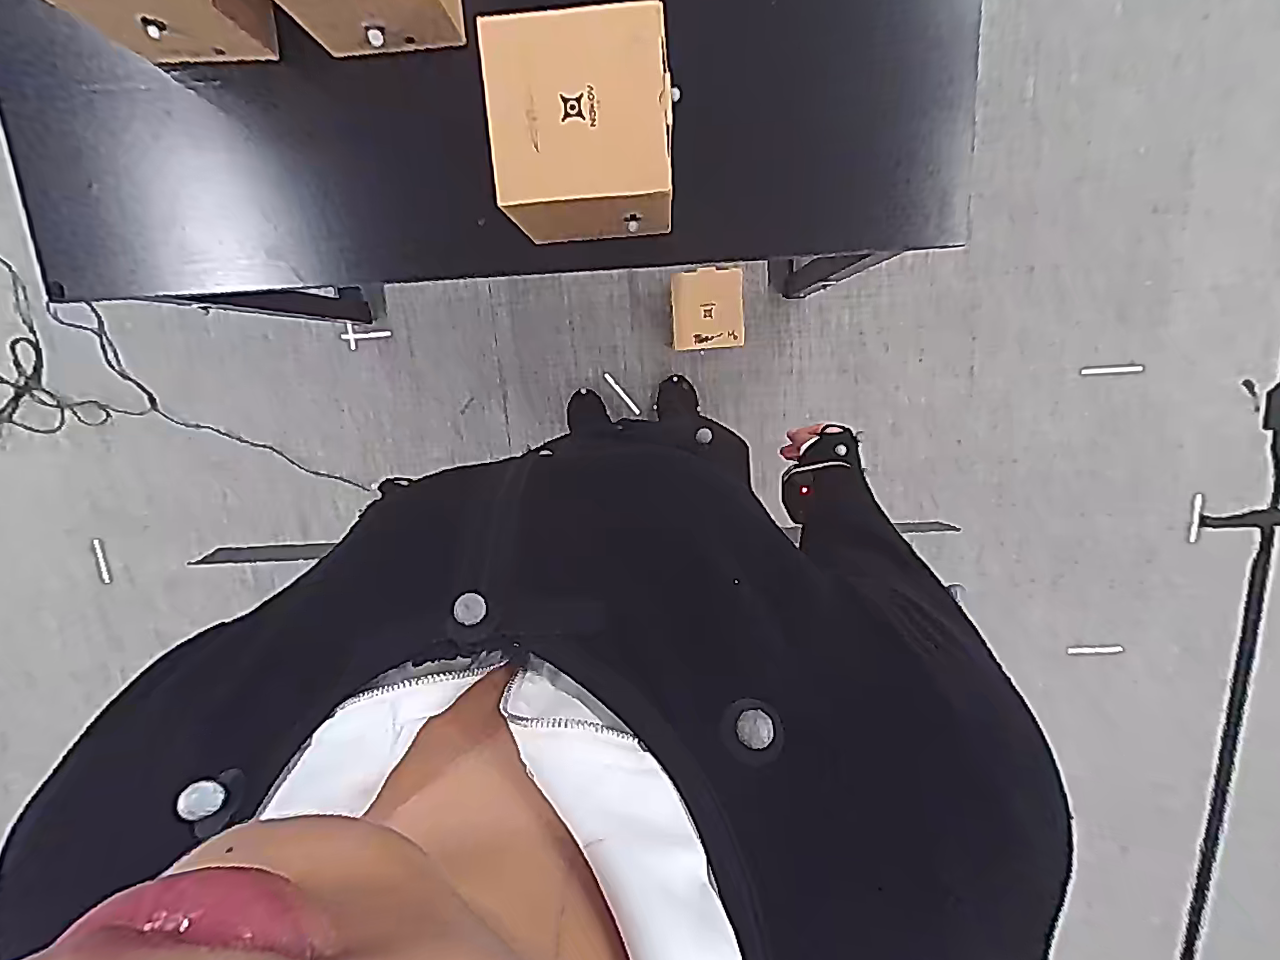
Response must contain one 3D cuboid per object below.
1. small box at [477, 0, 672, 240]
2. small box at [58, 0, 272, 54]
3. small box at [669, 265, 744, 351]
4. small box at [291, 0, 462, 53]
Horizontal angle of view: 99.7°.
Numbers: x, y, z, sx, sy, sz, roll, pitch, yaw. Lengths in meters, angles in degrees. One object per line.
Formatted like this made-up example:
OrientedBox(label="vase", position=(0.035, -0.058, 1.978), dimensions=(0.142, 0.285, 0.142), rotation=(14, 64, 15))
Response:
OrientedBox(label="small box", position=(-0.058, -0.374, 0.593), dimensions=(0.179, 0.176, 0.168), rotation=(-4, 100, 4))
OrientedBox(label="small box", position=(-0.522, -0.581, 0.563), dimensions=(0.168, 0.176, 0.179), rotation=(0, 102, 1))
OrientedBox(label="small box", position=(0.158, -0.413, 1.322), dimensions=(0.168, 0.176, 0.179), rotation=(-3, 102, 4))
OrientedBox(label="small box", position=(-0.298, -0.587, 0.554), dimensions=(0.168, 0.176, 0.179), rotation=(-3, 103, 3))
